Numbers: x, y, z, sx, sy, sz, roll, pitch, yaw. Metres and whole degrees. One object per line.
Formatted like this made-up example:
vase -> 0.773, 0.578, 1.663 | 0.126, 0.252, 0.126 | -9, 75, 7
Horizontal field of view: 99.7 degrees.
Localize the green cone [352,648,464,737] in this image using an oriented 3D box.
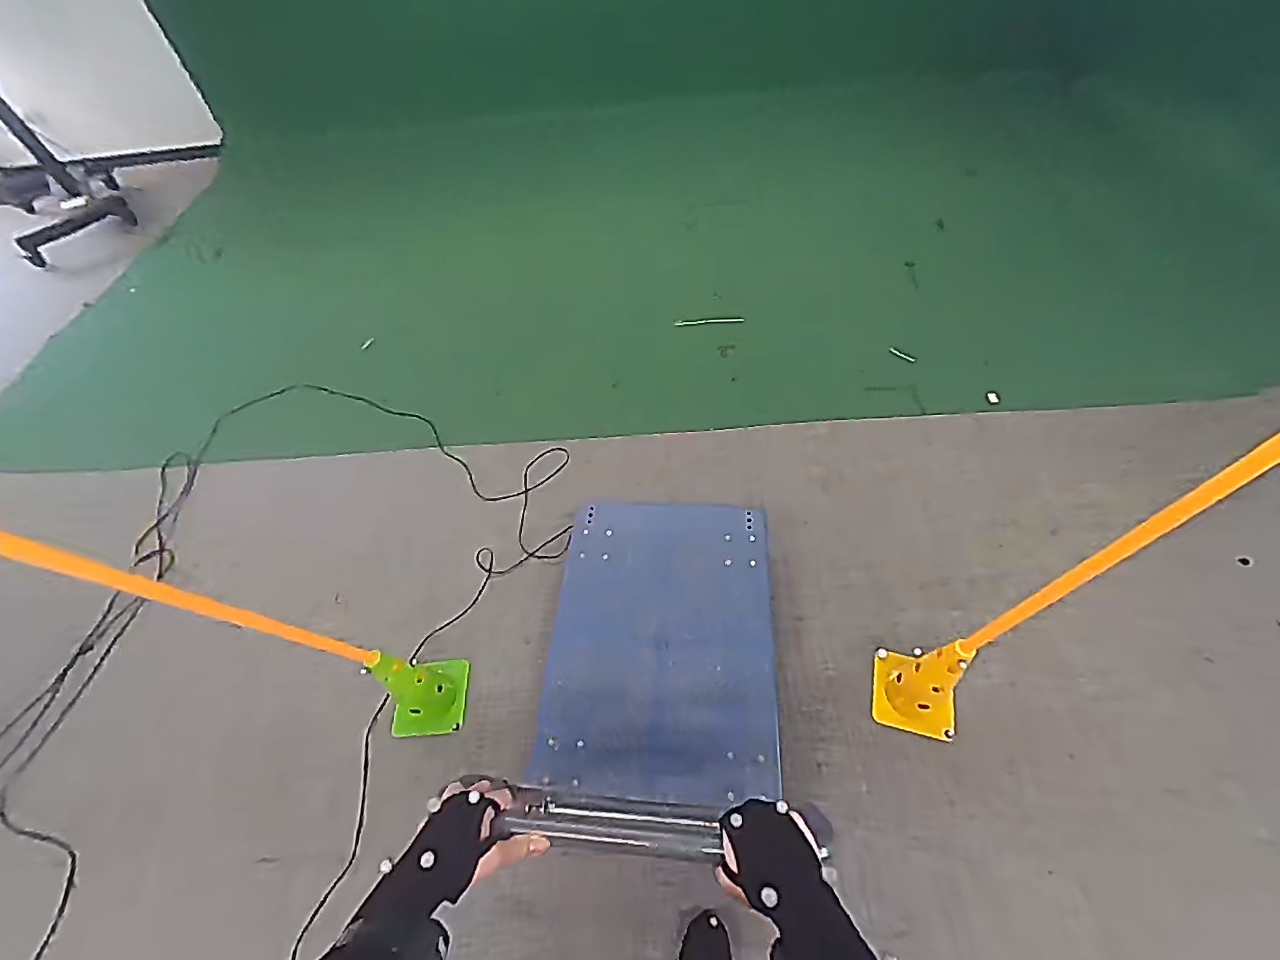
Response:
green cone -> -0.622, 0.510, 1.393 | 0.202, 0.368, 0.200 | -7, 53, 2
